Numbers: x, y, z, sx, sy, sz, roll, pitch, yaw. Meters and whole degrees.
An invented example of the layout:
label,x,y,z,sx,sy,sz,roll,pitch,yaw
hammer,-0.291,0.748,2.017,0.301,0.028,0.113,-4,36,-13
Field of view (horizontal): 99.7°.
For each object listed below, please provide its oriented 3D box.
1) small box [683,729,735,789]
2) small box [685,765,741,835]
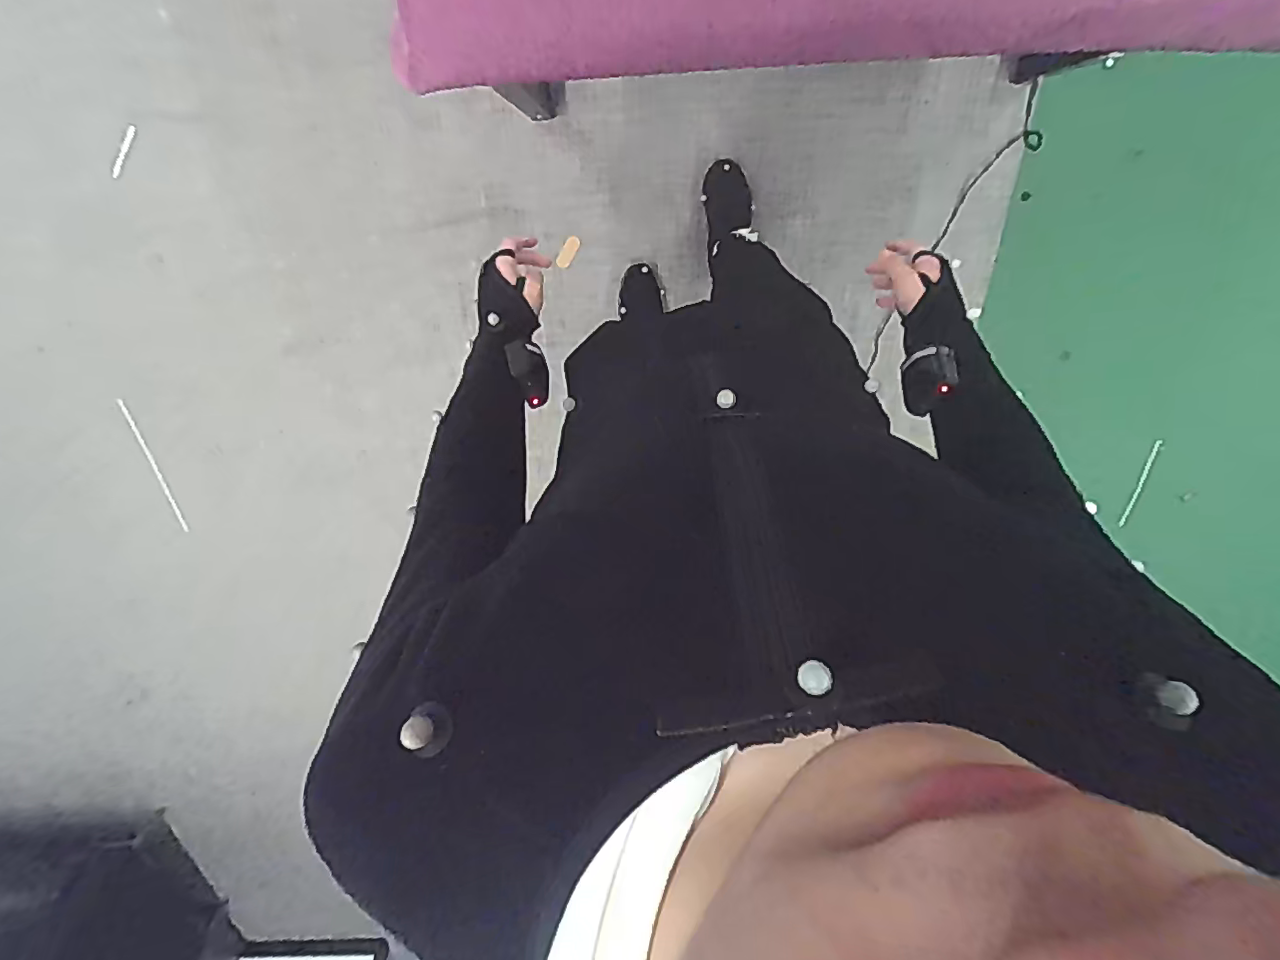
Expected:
label,x,y,z,sx,sy,sz,roll,pitch,yaw
small box,0.274,1.142,2.206,0.179,0.176,0.168,6,117,-3
small box,0.272,1.211,2.055,0.179,0.176,0.168,6,117,-3
